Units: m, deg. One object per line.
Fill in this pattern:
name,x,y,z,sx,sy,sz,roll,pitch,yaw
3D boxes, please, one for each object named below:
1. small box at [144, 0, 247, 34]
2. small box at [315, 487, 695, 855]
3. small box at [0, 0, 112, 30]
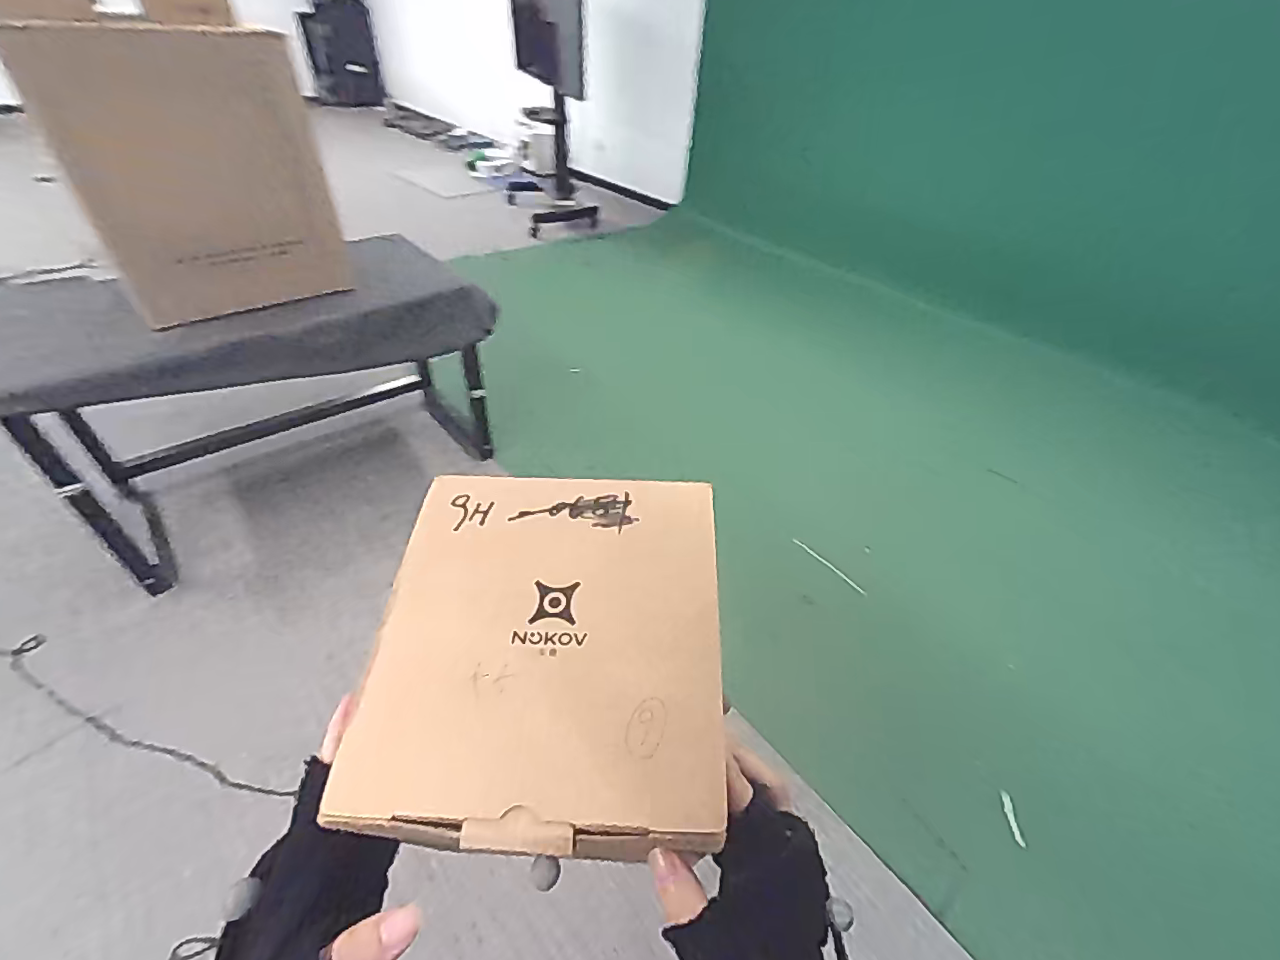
small box,-1.017,-1.114,1.207,0.168,0.176,0.179,-26,50,-32
small box,-0.052,0.124,0.337,0.168,0.176,0.179,2,53,1
small box,-1.198,-1.008,1.069,0.179,0.176,0.168,-30,54,-34
